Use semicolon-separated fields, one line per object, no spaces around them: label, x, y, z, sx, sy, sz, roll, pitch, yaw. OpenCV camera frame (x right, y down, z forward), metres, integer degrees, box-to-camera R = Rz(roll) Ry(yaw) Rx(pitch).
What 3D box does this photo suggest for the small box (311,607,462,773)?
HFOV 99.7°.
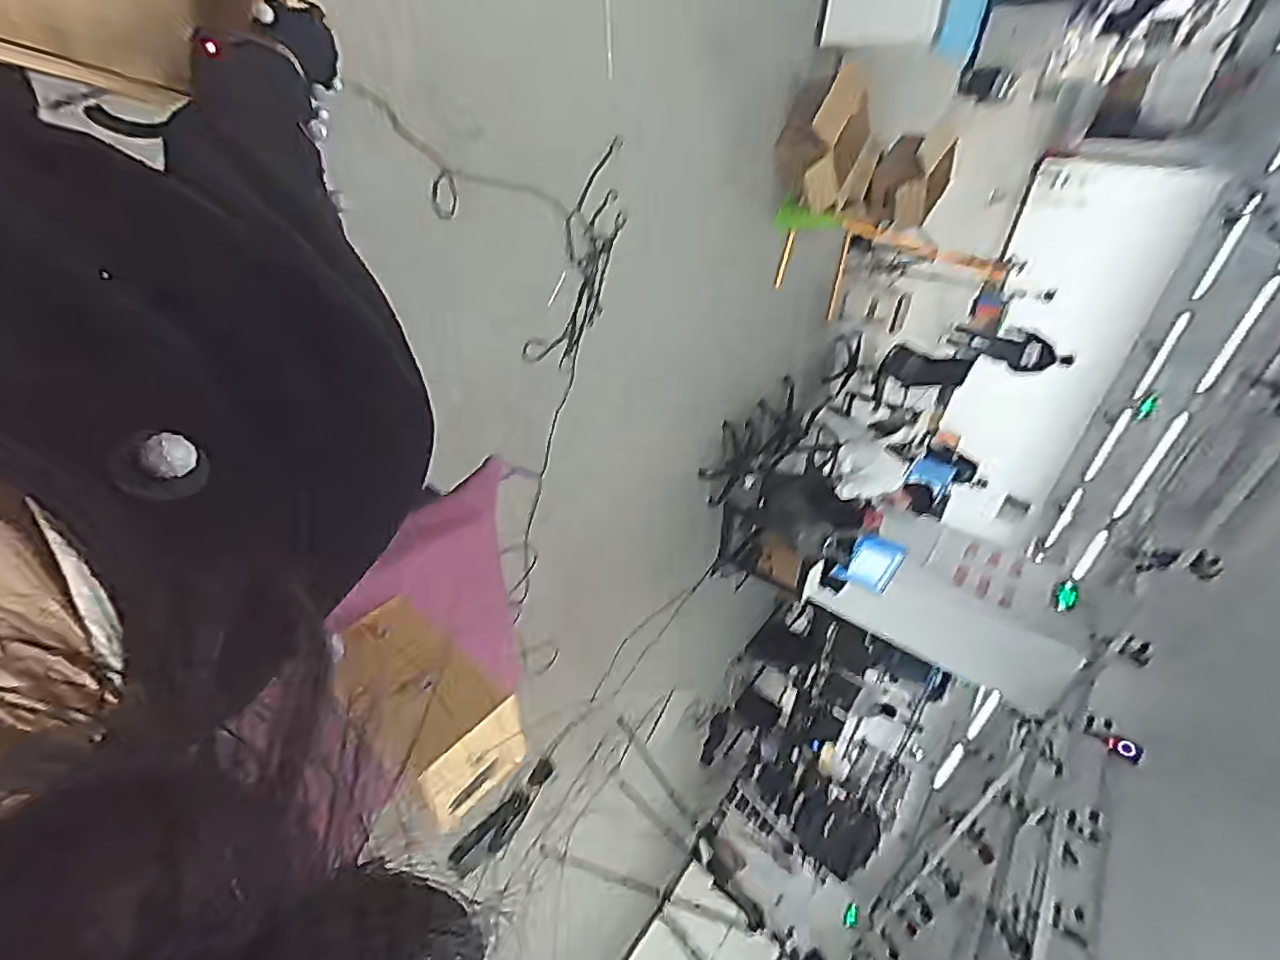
small box;-0.444;0.362;0.957;0.168;0.176;0.179;-32;136;-42
